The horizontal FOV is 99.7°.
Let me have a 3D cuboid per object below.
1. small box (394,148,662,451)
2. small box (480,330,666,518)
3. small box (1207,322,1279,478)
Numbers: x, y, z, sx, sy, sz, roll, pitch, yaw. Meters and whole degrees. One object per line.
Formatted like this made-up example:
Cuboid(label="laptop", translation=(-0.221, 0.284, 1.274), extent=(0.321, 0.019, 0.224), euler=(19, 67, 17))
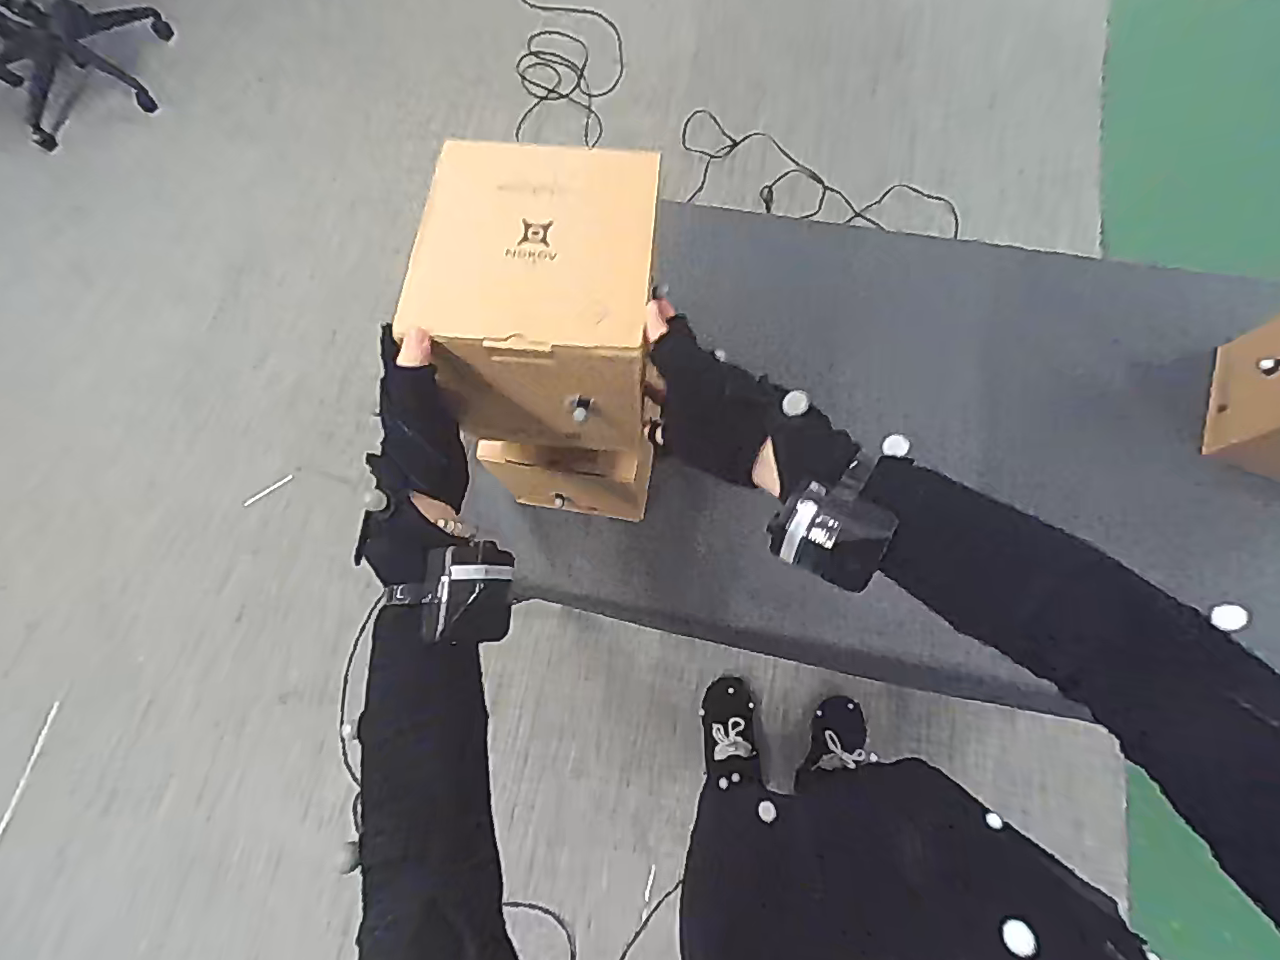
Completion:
Cuboid(label="small box", translation=(-0.072, -0.137, 0.455), extent=(0.168, 0.176, 0.179), euler=(6, 69, 3))
Cuboid(label="small box", translation=(-0.065, -0.068, 0.636), extent=(0.168, 0.176, 0.179), euler=(9, 74, 5))
Cuboid(label="small box", translation=(0.805, -0.093, 0.602), extent=(0.179, 0.176, 0.168), euler=(22, 76, 9))
